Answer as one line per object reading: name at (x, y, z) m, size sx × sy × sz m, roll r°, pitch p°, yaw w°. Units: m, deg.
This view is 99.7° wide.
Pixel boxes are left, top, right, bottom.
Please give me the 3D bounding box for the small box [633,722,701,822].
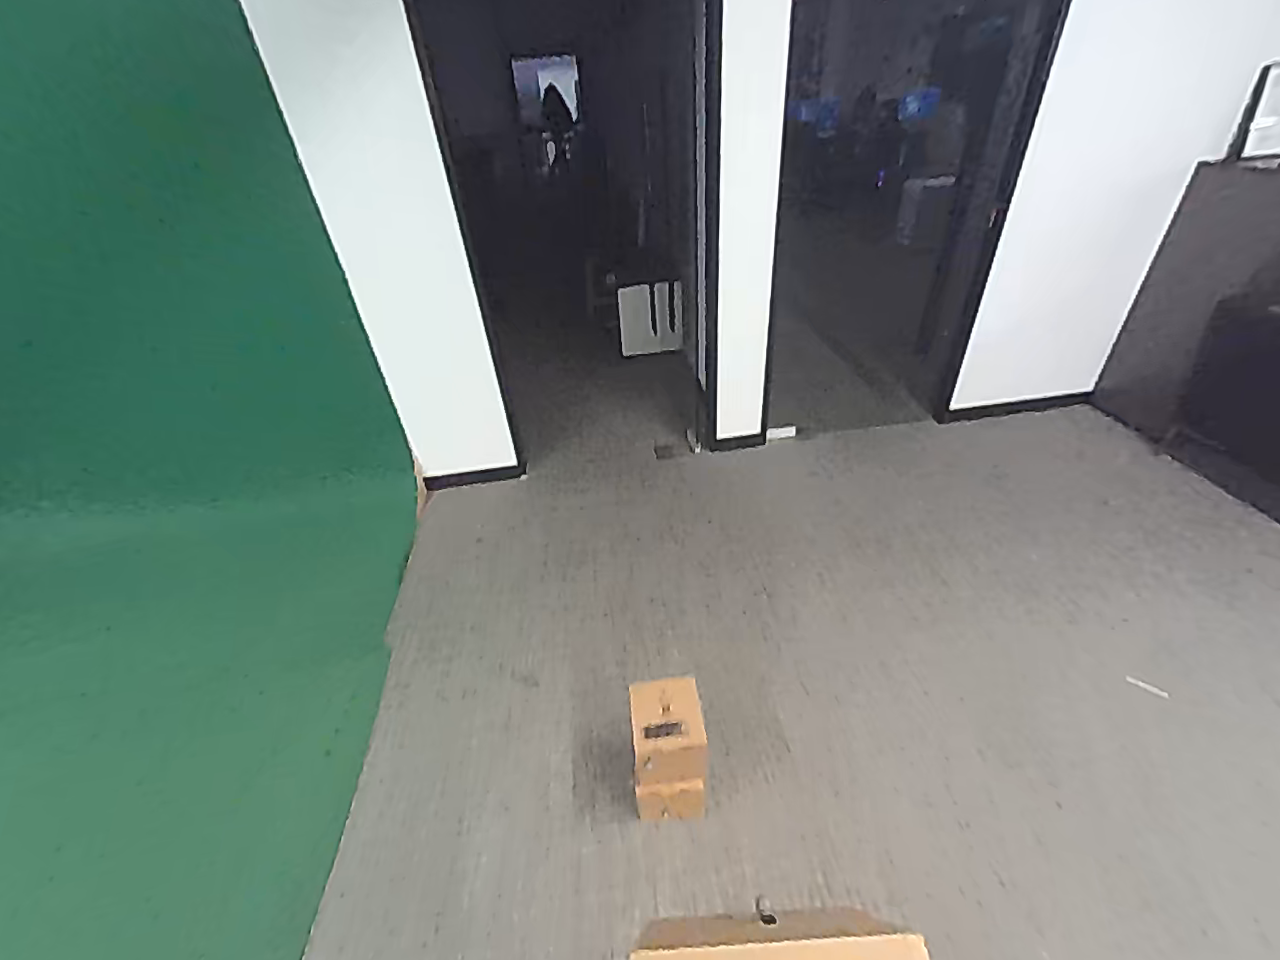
small box at (0.067, 0.759, 1.405) m, size 0.168 × 0.176 × 0.179 m, roll -3°, pitch 37°, yaw 1°
